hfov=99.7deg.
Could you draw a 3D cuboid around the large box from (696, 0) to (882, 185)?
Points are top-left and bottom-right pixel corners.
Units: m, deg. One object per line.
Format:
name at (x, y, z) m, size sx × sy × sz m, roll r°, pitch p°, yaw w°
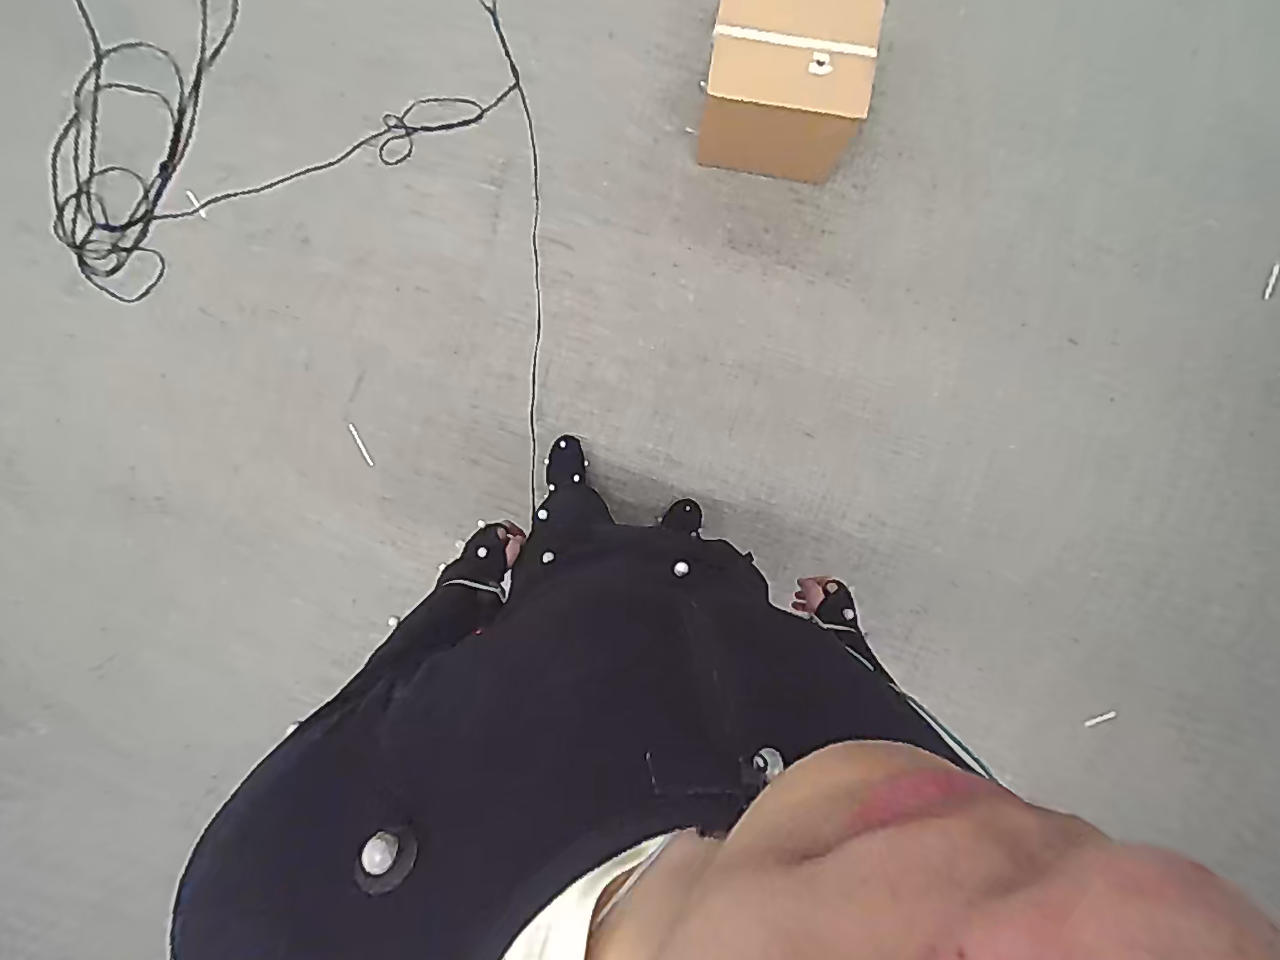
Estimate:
large box at (0.382, -1.065, 1.484) m, size 0.408 × 0.320 × 0.320 m, roll 9°, pitch 91°, yaw 0°
